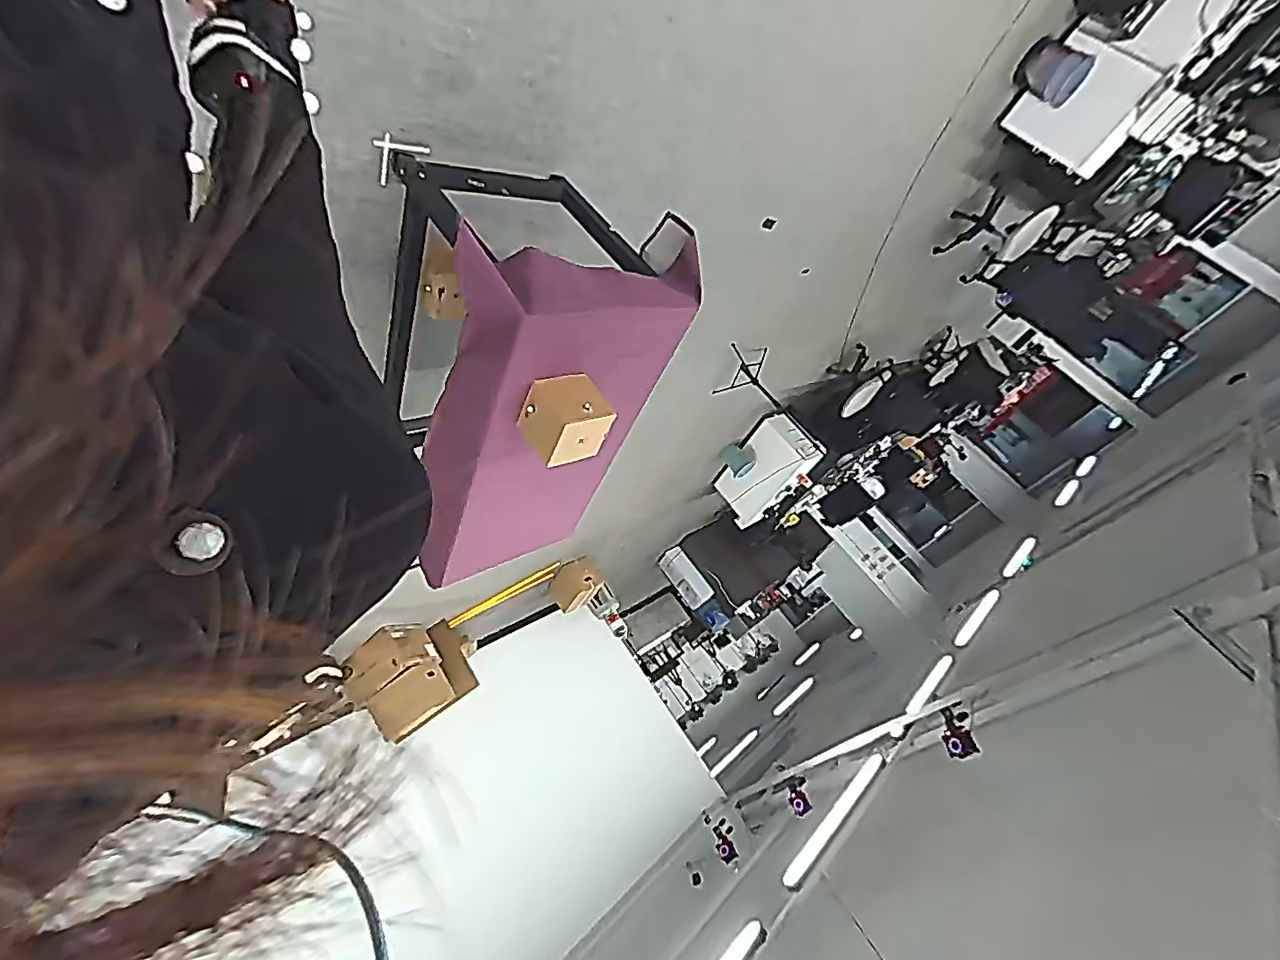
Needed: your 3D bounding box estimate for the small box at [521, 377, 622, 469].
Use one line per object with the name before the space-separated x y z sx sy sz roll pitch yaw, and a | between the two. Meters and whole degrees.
small box | -0.187 -0.159 1.450 0.179 0.176 0.168 -18 151 -42
